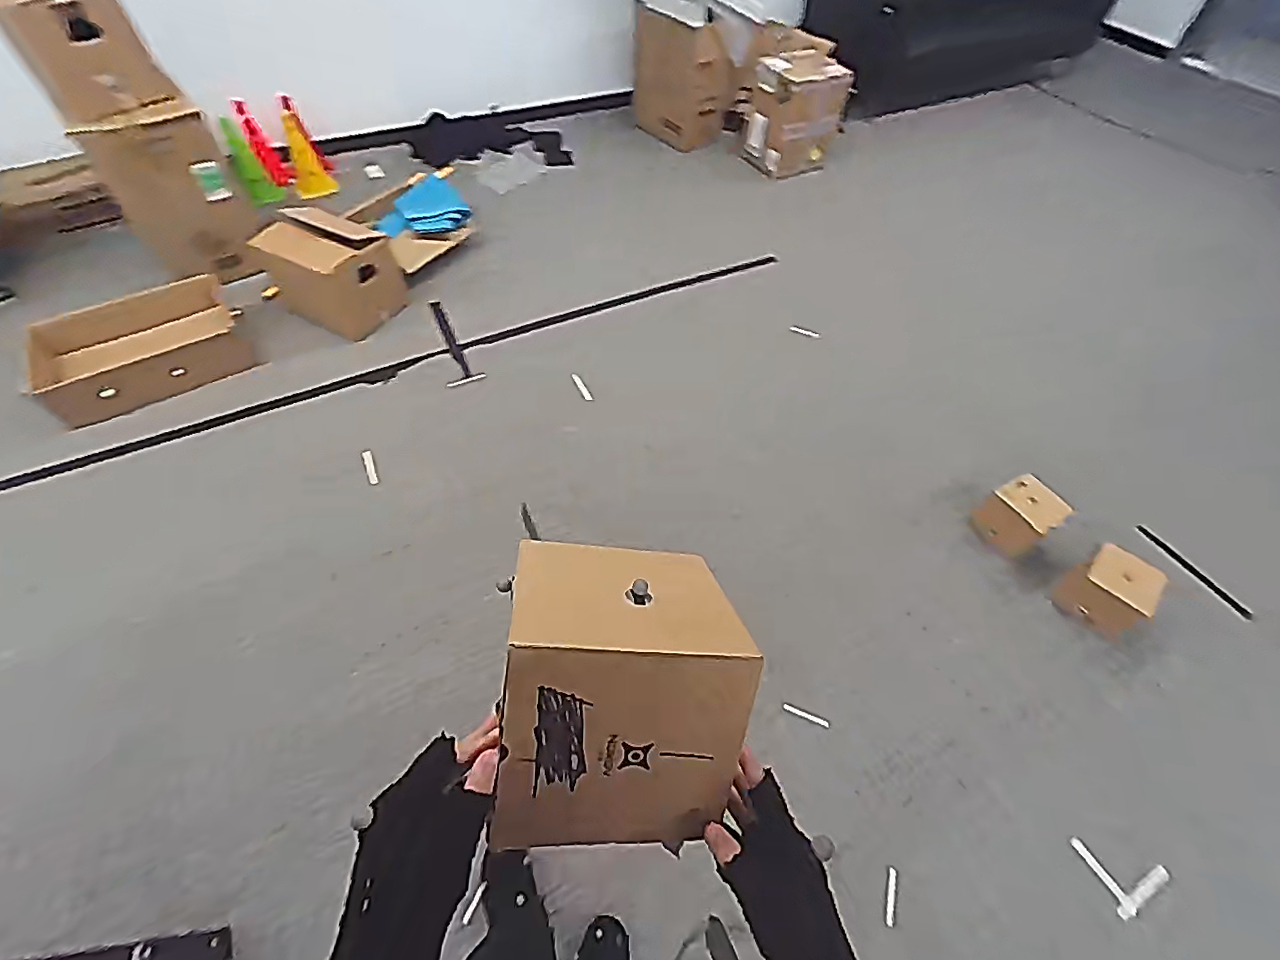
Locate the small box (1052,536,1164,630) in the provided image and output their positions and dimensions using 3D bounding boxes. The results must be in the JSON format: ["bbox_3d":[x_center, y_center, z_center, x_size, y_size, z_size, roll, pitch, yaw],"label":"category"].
[{"bbox_3d":[1.363,0.304,1.586,0.168,0.176,0.179,38,62,24],"label":"small box"}]

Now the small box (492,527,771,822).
[{"bbox_3d":[-0.020,0.148,0.452,0.179,0.168,0.176,7,16,-12],"label":"small box"}]

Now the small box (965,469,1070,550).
[{"bbox_3d":[1.198,0.102,1.728,0.168,0.176,0.179,-23,58,-18],"label":"small box"}]
